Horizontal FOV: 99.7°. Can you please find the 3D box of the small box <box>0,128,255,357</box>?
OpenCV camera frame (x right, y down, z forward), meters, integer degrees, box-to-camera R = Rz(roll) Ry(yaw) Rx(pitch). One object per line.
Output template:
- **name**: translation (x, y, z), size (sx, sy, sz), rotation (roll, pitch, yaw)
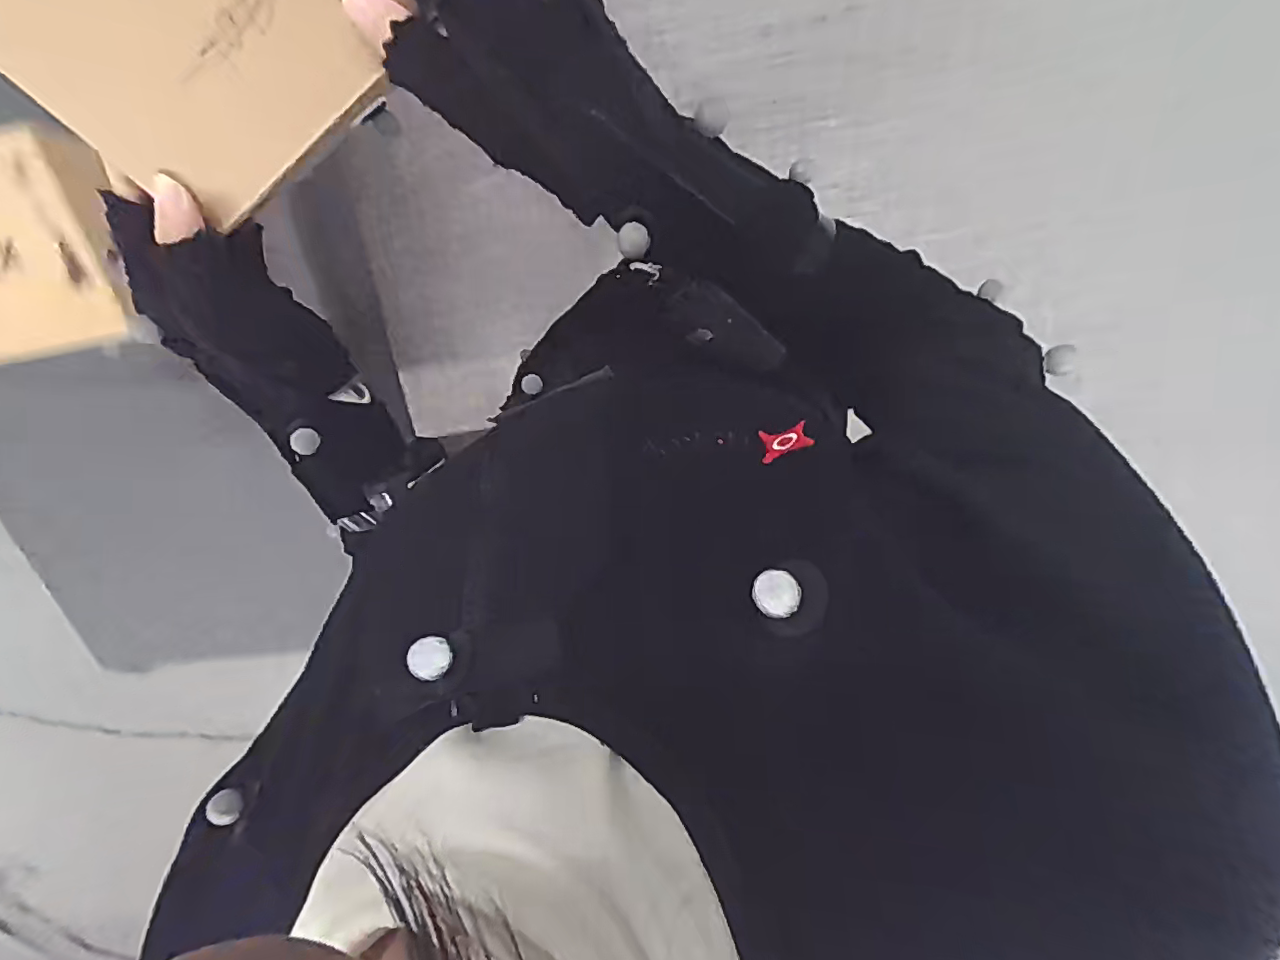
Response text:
- **small box**: translation (-0.547, -0.226, 0.539), size (0.179, 0.176, 0.168), rotation (-7, 113, 8)
